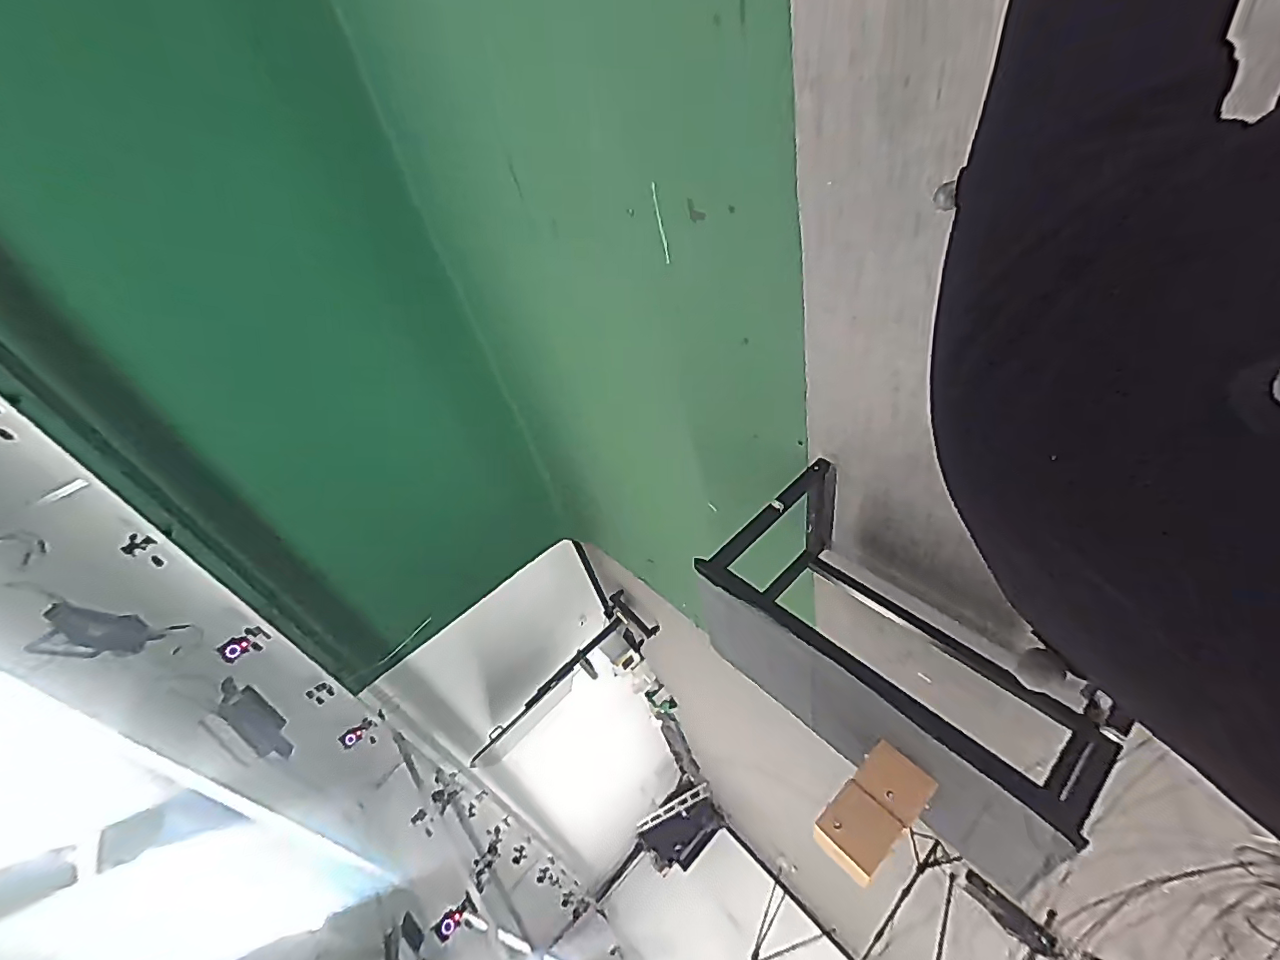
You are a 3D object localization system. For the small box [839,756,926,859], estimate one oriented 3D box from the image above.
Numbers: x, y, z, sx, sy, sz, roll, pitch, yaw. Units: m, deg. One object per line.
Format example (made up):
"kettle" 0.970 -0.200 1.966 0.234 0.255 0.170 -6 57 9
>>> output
"small box" 0.706 0.959 1.589 0.179 0.176 0.168 34 149 37

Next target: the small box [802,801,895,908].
"small box" 0.581 1.042 1.520 0.179 0.176 0.168 33 149 38
